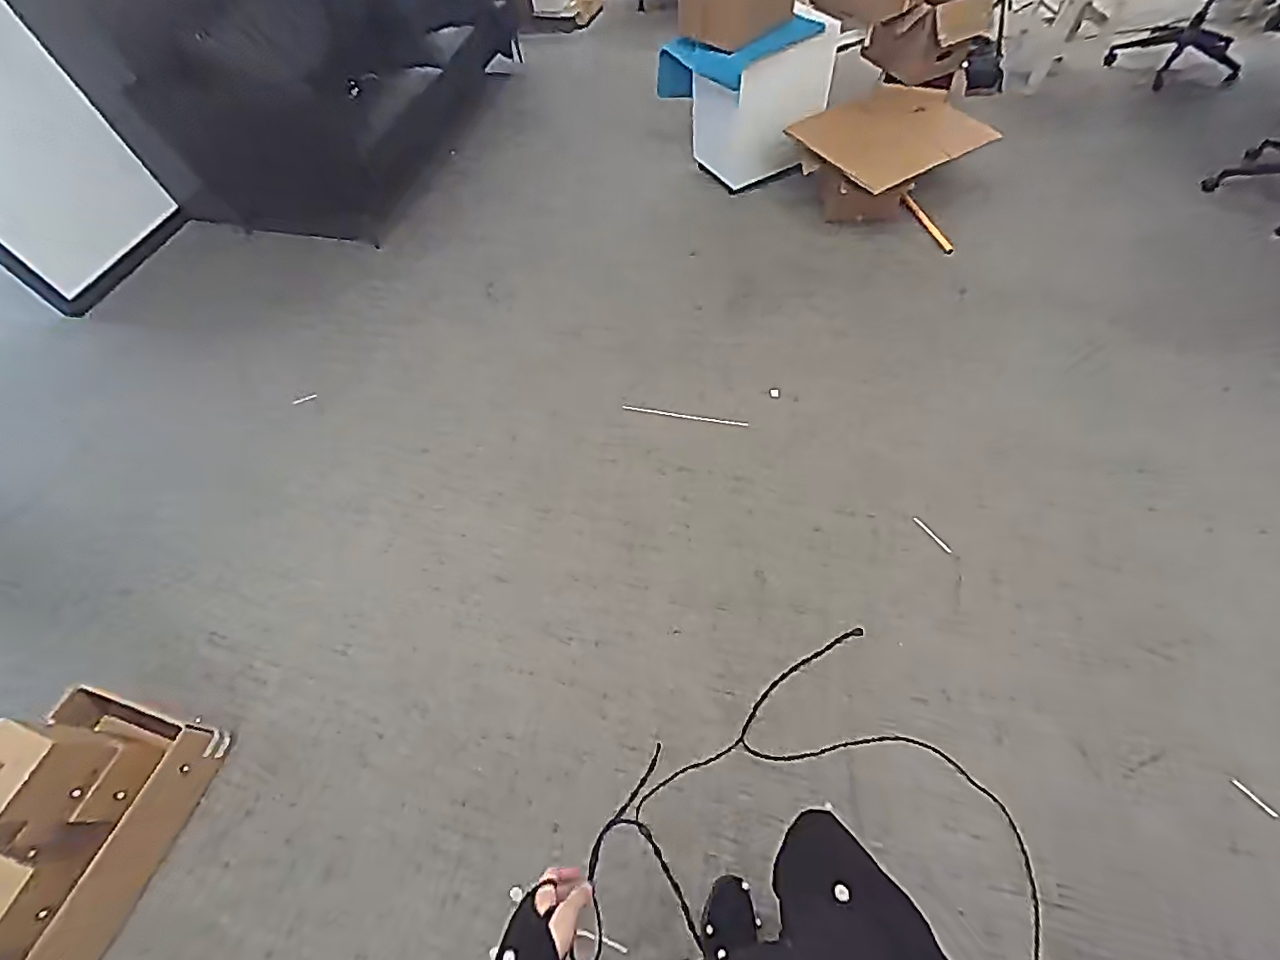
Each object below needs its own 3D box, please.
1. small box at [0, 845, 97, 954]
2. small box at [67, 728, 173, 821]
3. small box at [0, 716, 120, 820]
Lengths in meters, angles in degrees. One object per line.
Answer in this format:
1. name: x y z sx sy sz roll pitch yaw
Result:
1. small box: -1.452 0.967 1.257 0.179 0.176 0.168 12 59 12
2. small box: -1.376 0.755 1.390 0.179 0.176 0.168 11 60 12
3. small box: -1.392 0.669 1.251 0.179 0.176 0.168 14 62 13
